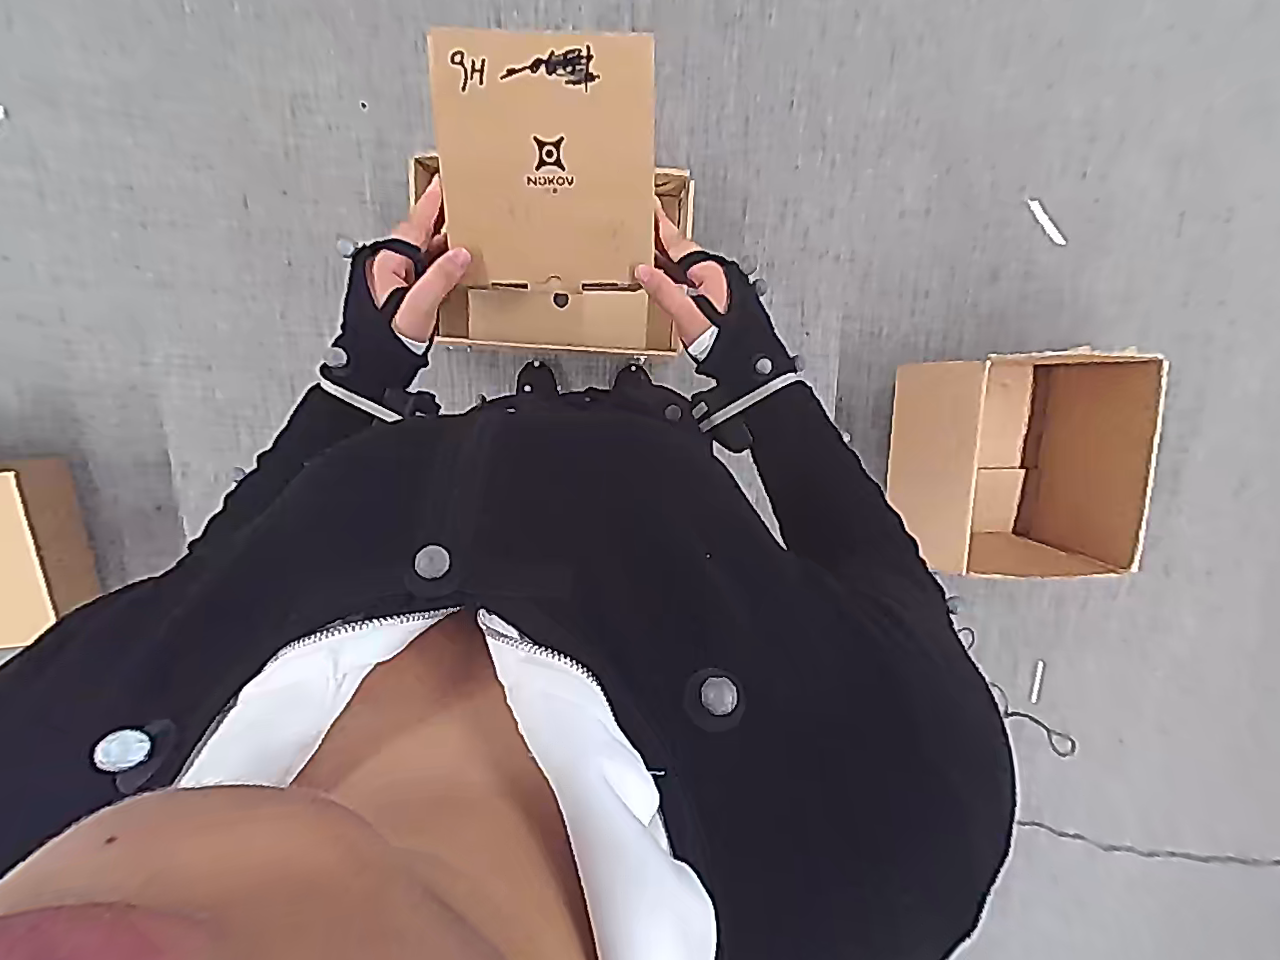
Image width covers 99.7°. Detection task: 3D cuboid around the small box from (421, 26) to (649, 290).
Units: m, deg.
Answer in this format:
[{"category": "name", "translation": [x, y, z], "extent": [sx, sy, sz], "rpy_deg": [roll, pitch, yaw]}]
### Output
[{"category": "small box", "translation": [-0.081, -0.267, 0.490], "extent": [0.168, 0.176, 0.179], "rpy_deg": [-2, 109, -4]}]
